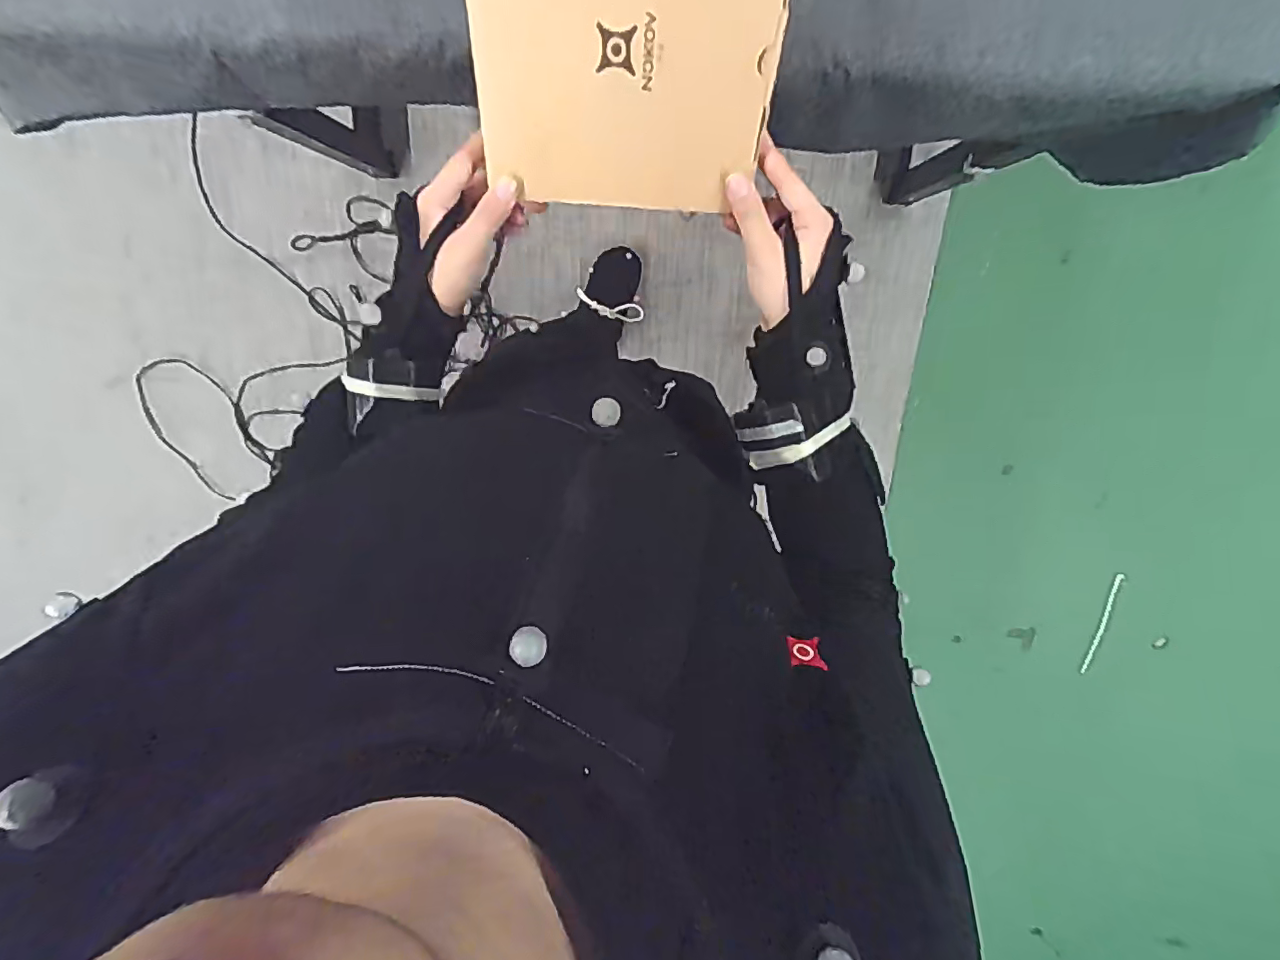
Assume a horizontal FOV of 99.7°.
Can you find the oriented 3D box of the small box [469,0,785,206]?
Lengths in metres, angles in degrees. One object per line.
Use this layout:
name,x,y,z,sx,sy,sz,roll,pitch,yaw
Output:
small box,-0.008,-0.302,0.366,0.179,0.176,0.168,2,132,-2
